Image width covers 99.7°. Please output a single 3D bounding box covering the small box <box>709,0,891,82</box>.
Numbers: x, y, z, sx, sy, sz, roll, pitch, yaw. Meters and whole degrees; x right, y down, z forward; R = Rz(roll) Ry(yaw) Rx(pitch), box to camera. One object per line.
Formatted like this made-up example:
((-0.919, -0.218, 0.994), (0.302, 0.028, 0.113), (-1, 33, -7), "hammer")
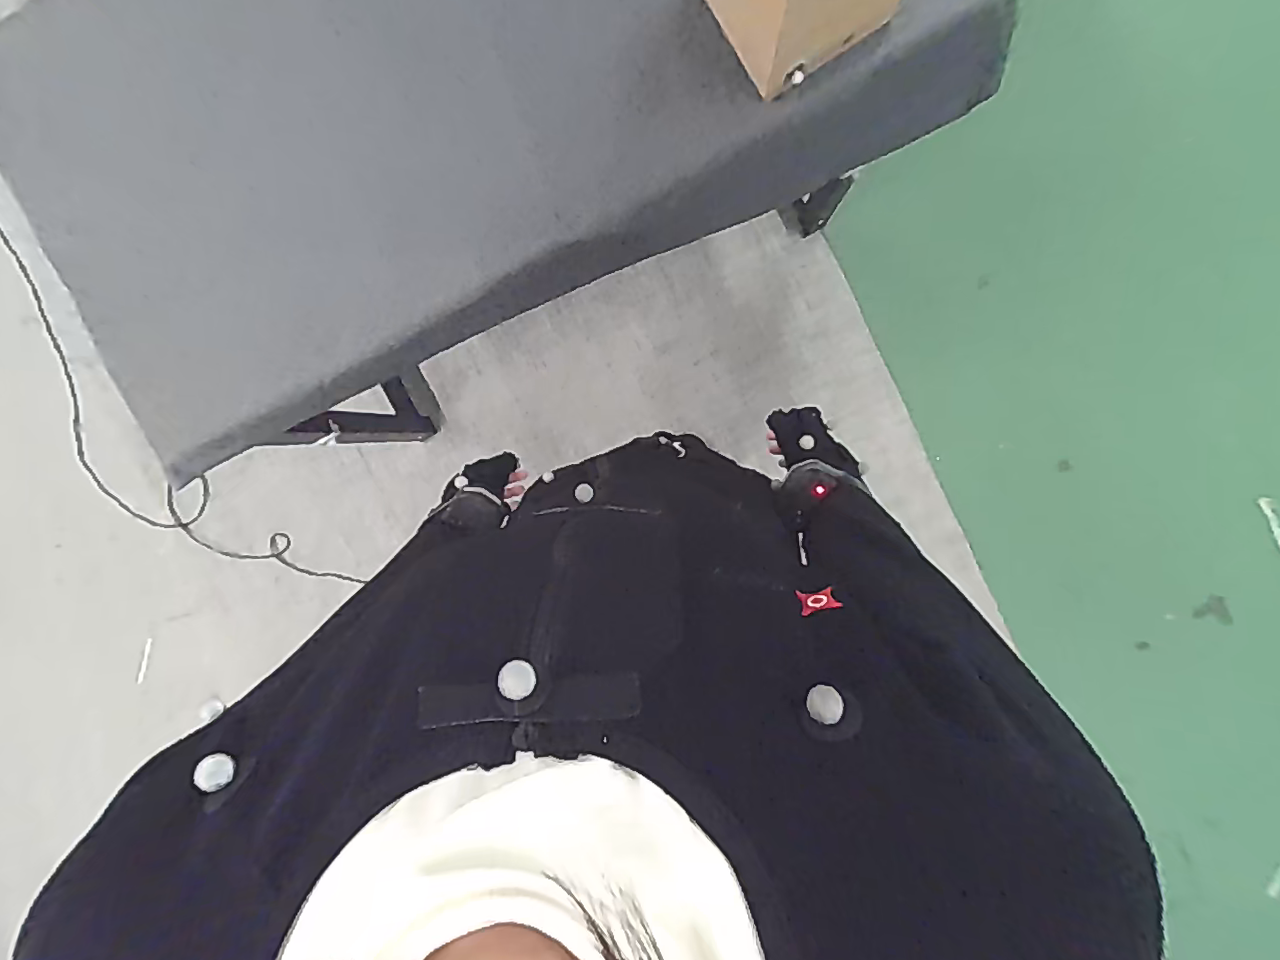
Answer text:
((0.170, -0.566, 0.562), (0.168, 0.176, 0.179), (-30, 90, 6), "small box")
